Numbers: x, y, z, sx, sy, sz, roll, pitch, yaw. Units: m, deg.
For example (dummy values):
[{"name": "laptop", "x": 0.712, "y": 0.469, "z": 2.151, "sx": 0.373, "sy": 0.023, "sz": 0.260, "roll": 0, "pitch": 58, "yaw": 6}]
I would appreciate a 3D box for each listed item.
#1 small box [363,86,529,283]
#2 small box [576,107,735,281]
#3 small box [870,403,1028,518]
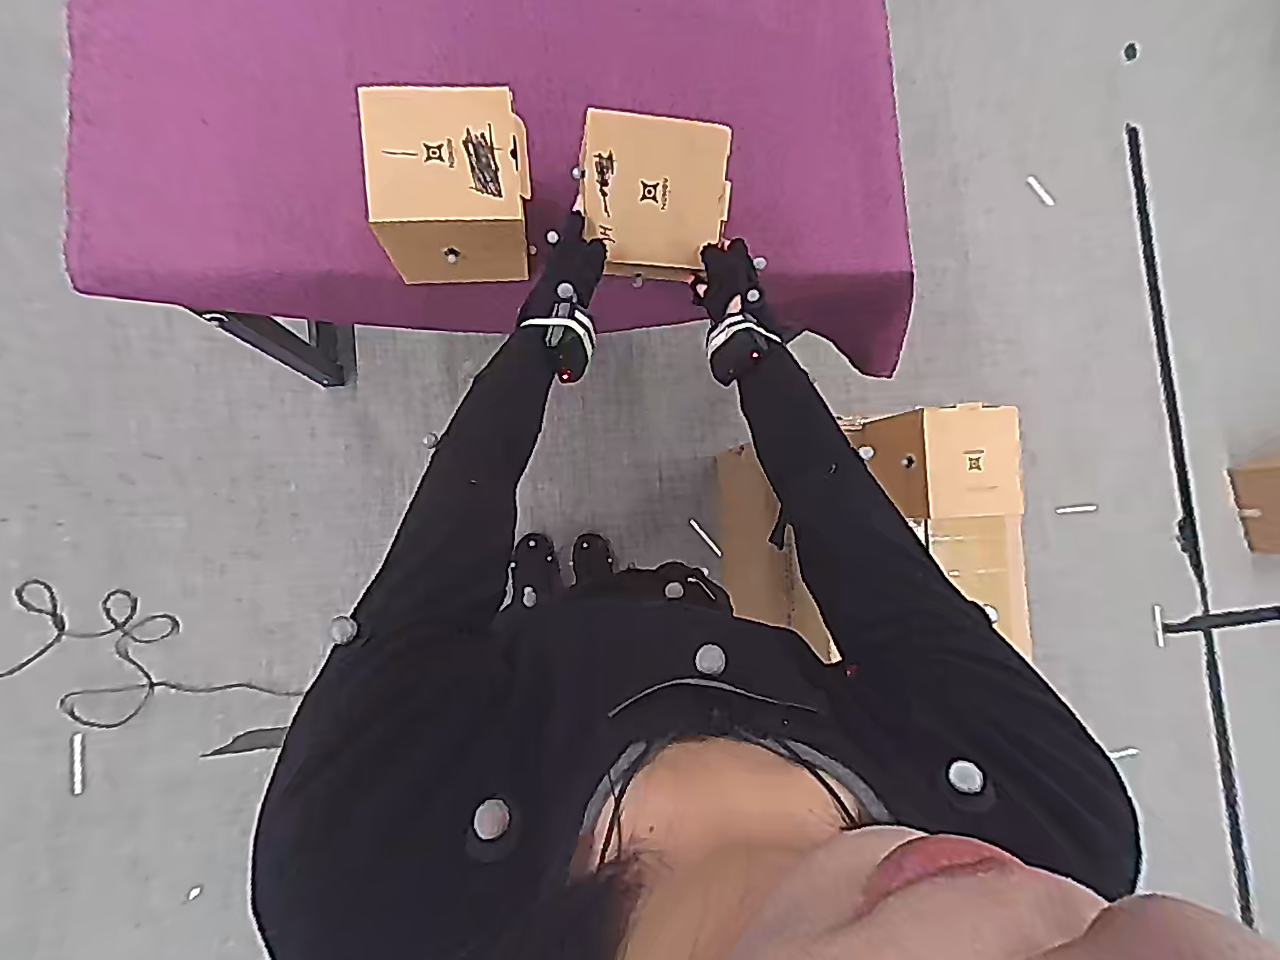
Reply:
[{"name": "small box", "x": -0.241, "y": -0.374, "z": 0.711, "sx": 0.179, "sy": 0.176, "sz": 0.168, "roll": -5, "pitch": 86, "yaw": -8}, {"name": "small box", "x": 0.011, "y": -0.370, "z": 0.734, "sx": 0.179, "sy": 0.176, "sz": 0.168, "roll": 2, "pitch": 104, "yaw": -11}, {"name": "small box", "x": 0.510, "y": -0.027, "z": 0.916, "sx": 0.168, "sy": 0.176, "sz": 0.179, "roll": -3, "pitch": 88, "yaw": -7}]
